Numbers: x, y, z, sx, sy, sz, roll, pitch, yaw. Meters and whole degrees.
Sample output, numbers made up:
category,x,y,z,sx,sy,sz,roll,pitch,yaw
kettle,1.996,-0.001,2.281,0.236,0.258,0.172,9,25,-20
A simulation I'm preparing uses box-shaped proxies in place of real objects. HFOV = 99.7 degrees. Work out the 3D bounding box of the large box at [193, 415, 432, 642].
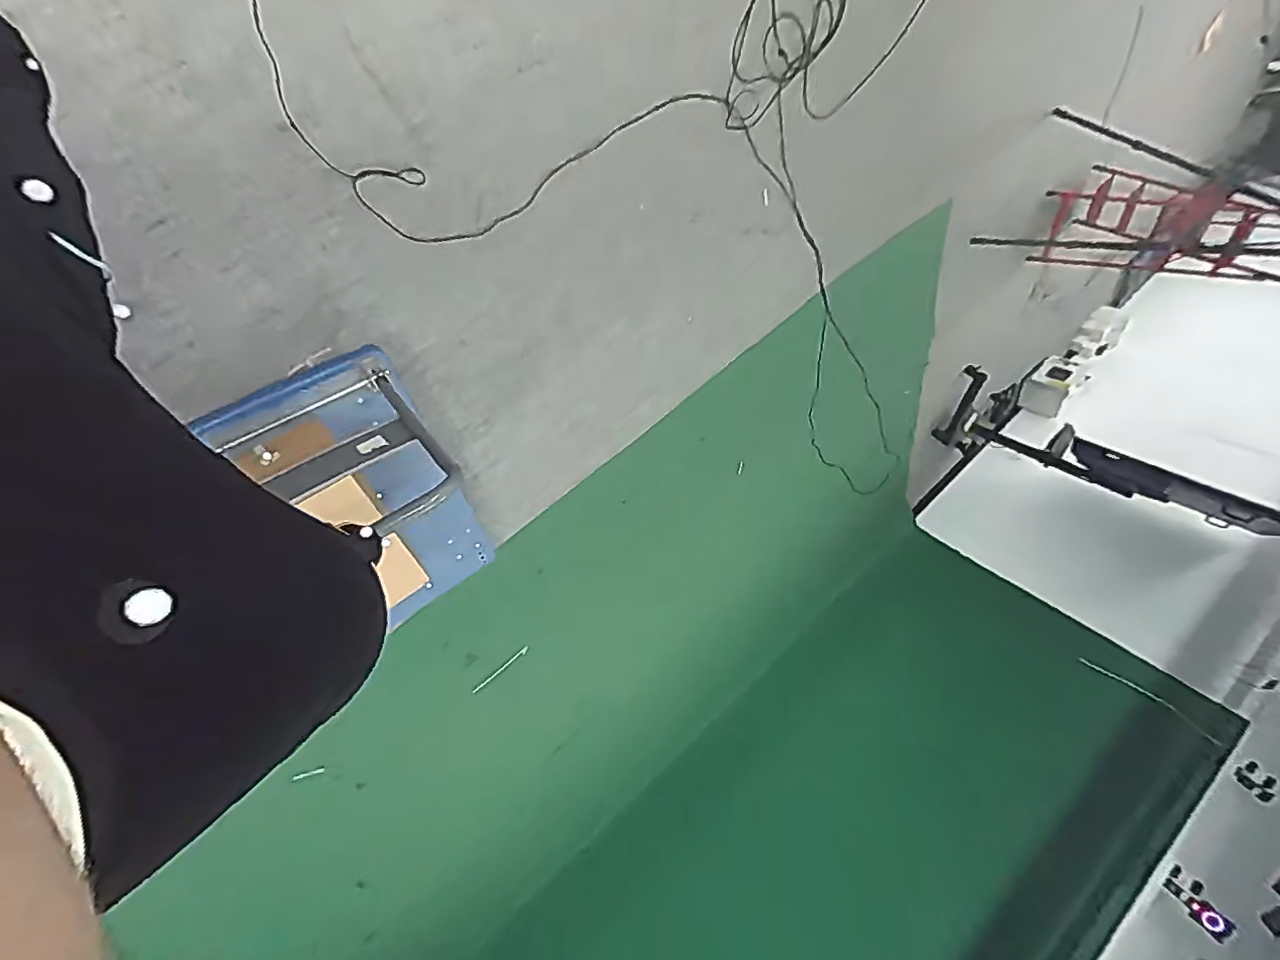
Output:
category,x,y,z,sx,sy,sz,roll,pitch,yaw
large box,-0.802,0.117,1.352,0.320,0.320,0.408,-34,138,-20
